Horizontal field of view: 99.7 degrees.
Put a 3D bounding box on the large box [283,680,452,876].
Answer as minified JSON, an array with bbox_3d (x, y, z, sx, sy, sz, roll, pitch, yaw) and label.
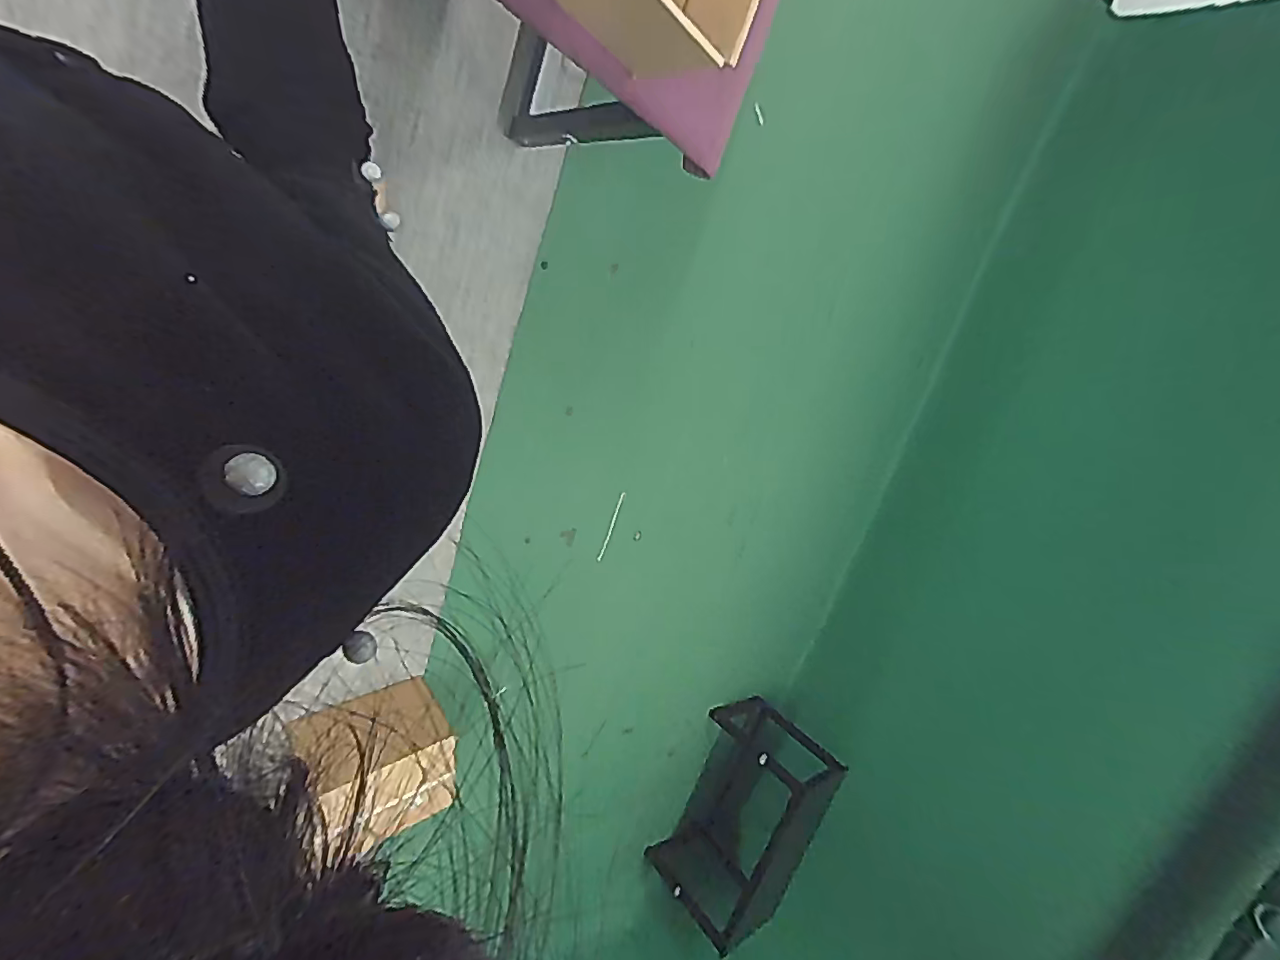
[{"bbox_3d":[-0.855,0.914,1.716,0.408,0.320,0.320,-11,120,-41],"label":"large box"}]
